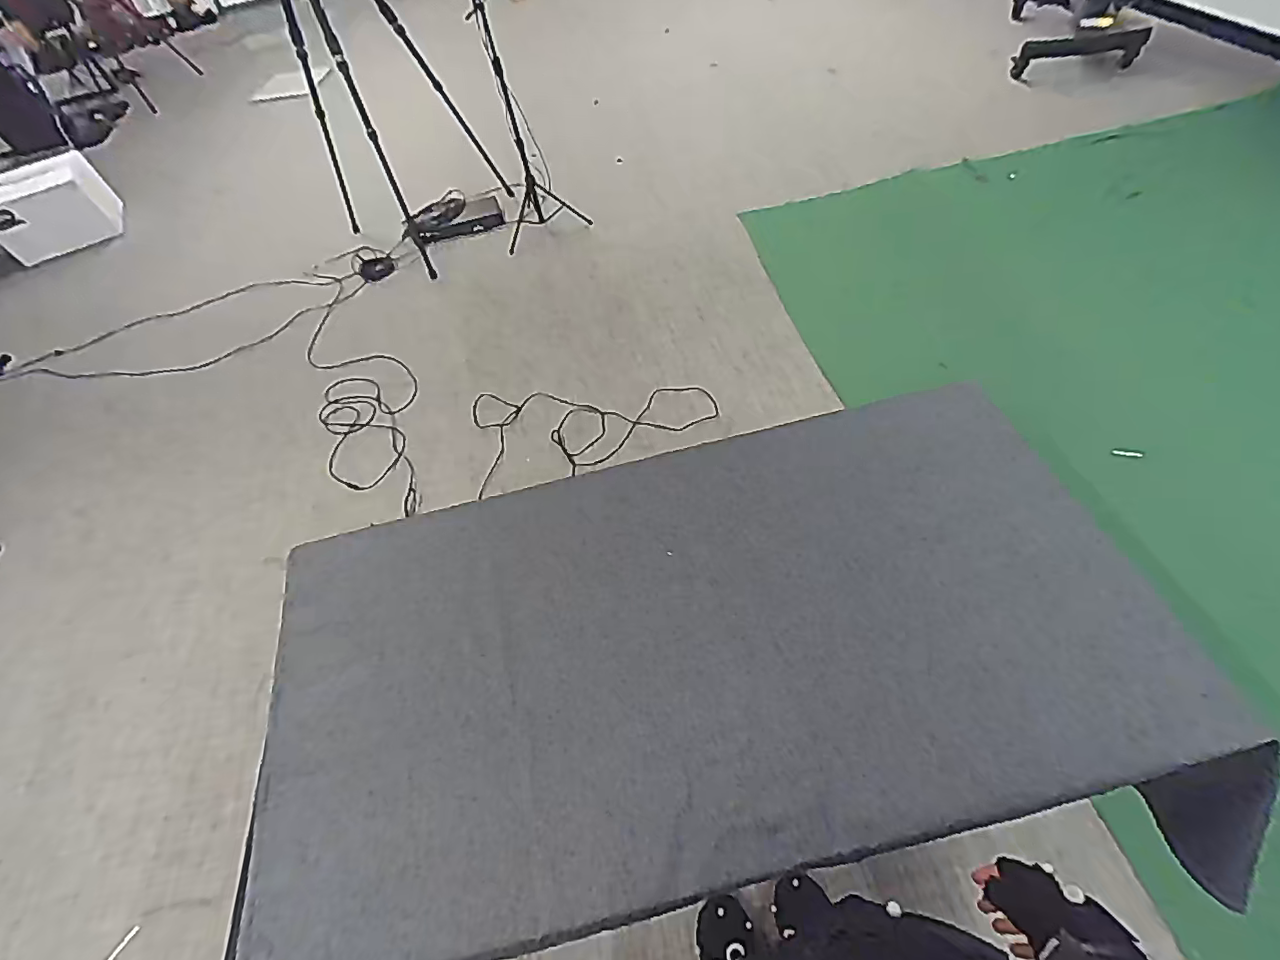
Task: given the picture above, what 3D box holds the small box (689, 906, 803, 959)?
[{"bbox_3d":[0.189,0.954,1.028,0.179,0.176,0.168,8,66,35],"label":"small box"}]
